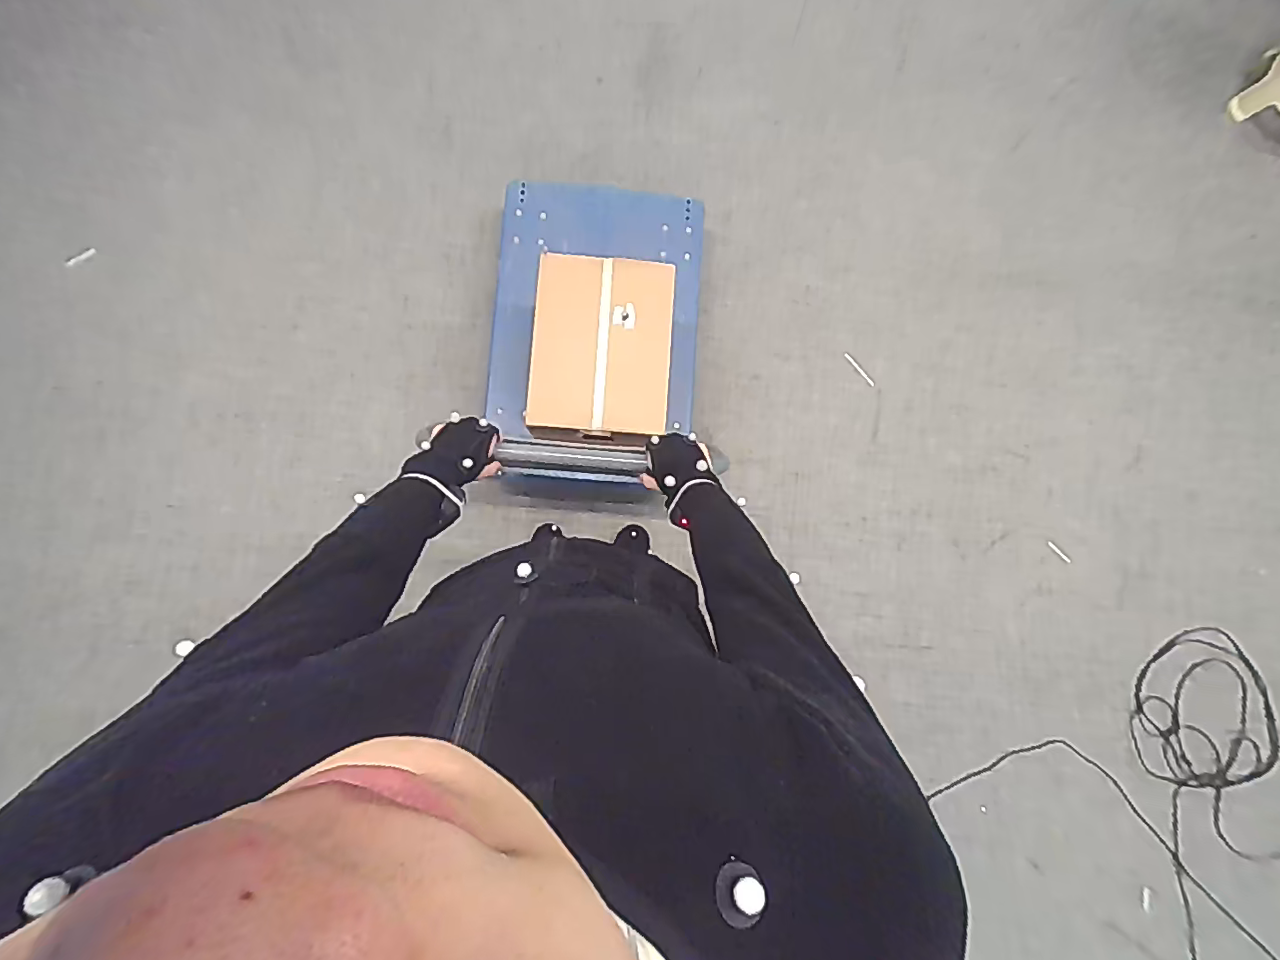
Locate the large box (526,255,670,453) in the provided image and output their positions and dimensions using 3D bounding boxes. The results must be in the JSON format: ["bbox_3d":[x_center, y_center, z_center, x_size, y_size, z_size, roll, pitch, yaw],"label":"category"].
[{"bbox_3d":[-0.101,-0.292,1.367,0.320,0.320,0.408,4,83,-5],"label":"large box"}]
